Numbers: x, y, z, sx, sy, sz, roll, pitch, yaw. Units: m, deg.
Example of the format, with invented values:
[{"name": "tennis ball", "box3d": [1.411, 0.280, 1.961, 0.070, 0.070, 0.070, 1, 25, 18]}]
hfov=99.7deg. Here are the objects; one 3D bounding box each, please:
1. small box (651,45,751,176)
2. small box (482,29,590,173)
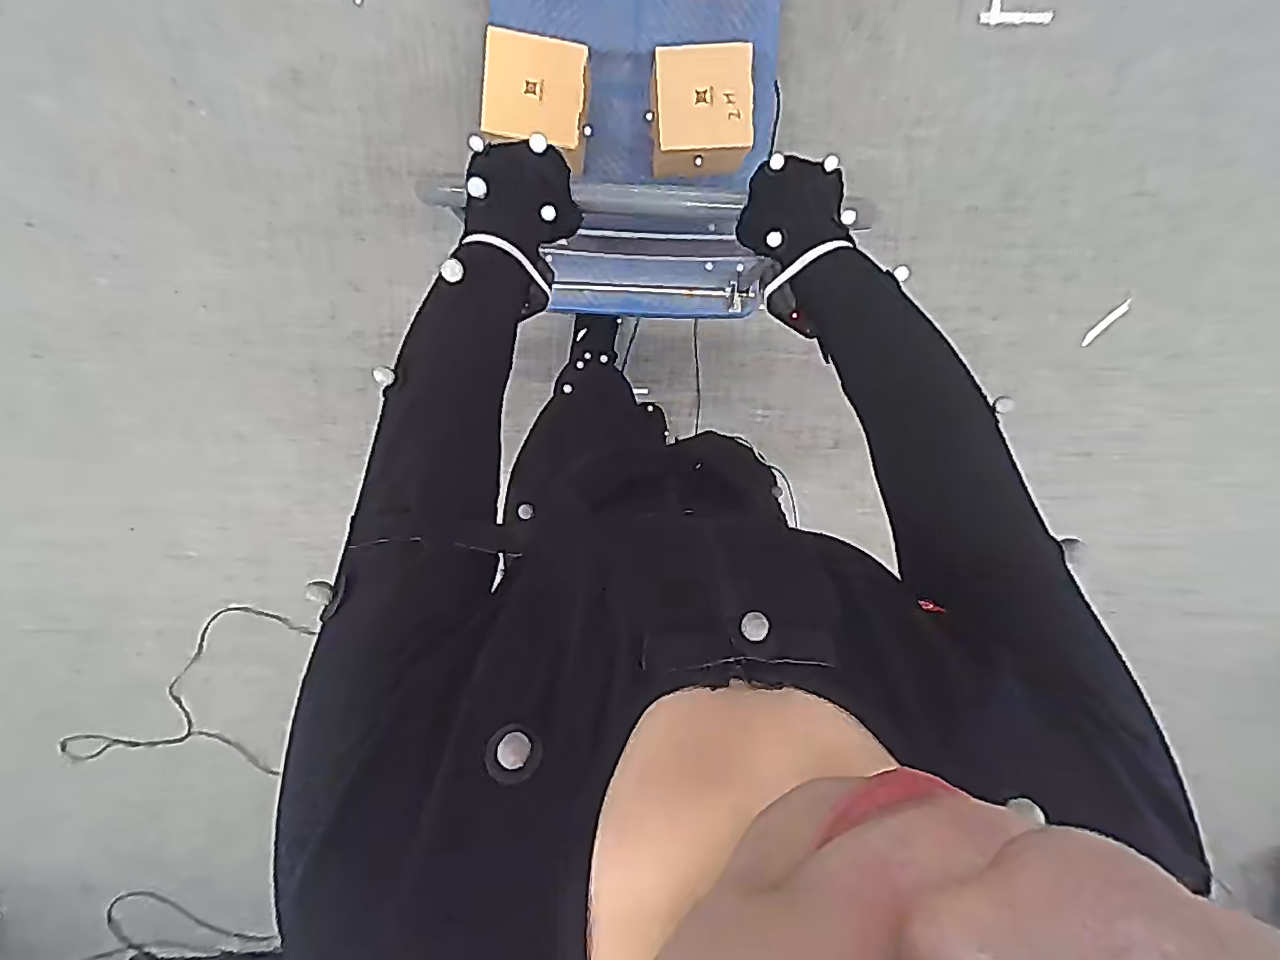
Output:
[{"name": "small box", "box3d": [0.112, -0.710, 1.058, 0.179, 0.176, 0.168, -4, 104, -2]}, {"name": "small box", "box3d": [-0.193, -0.714, 1.041, 0.179, 0.176, 0.168, 7, 103, -6]}]
